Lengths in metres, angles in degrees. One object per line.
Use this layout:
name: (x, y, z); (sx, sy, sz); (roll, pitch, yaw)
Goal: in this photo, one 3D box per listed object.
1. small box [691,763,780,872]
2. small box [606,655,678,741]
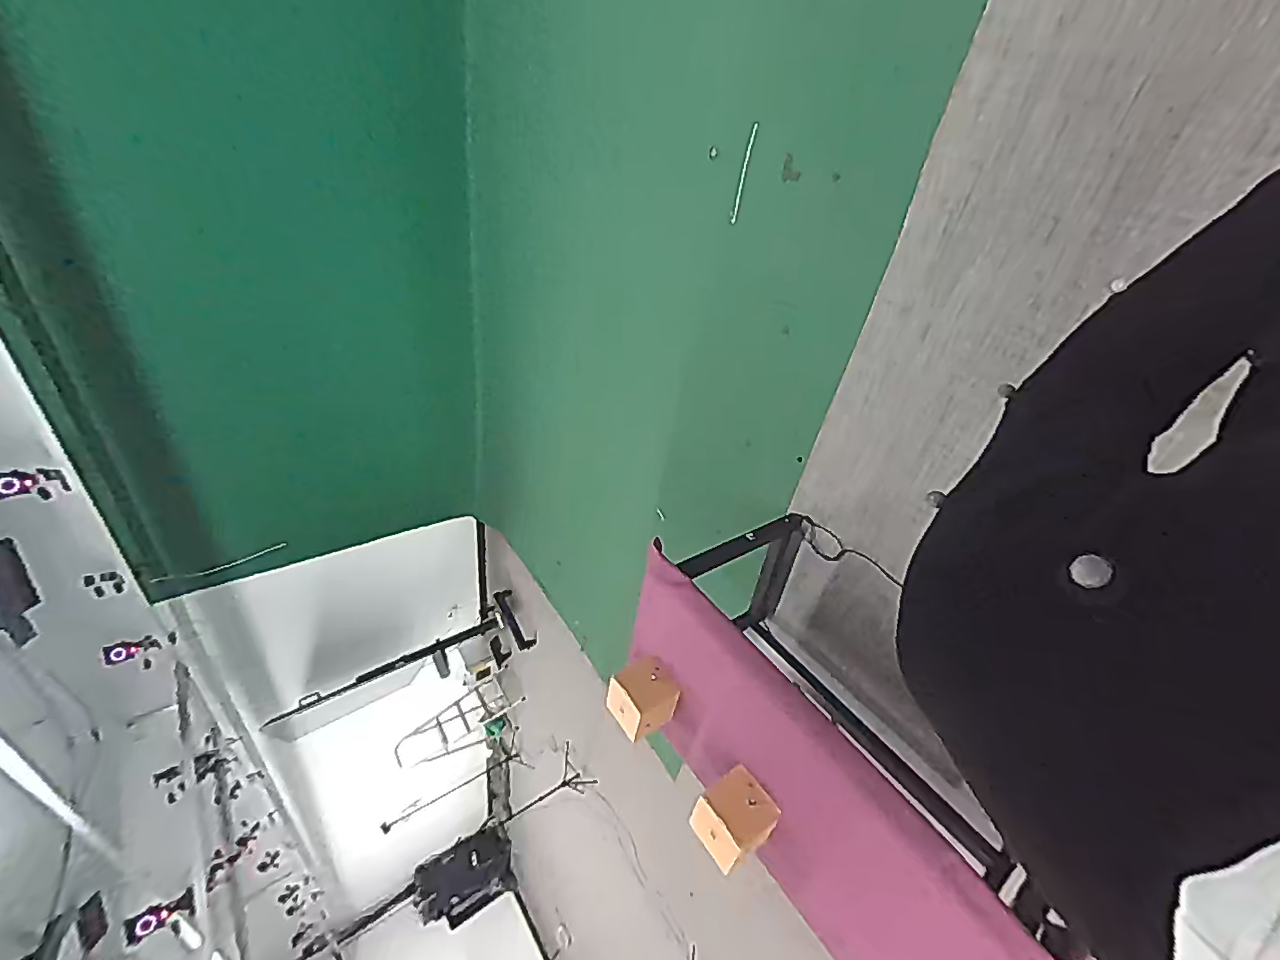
small box: (0.273, 0.961, 1.549); (0.168, 0.176, 0.179); (42, 135, 38)
small box: (0.008, 0.727, 1.812); (0.168, 0.176, 0.179); (42, 135, 36)
